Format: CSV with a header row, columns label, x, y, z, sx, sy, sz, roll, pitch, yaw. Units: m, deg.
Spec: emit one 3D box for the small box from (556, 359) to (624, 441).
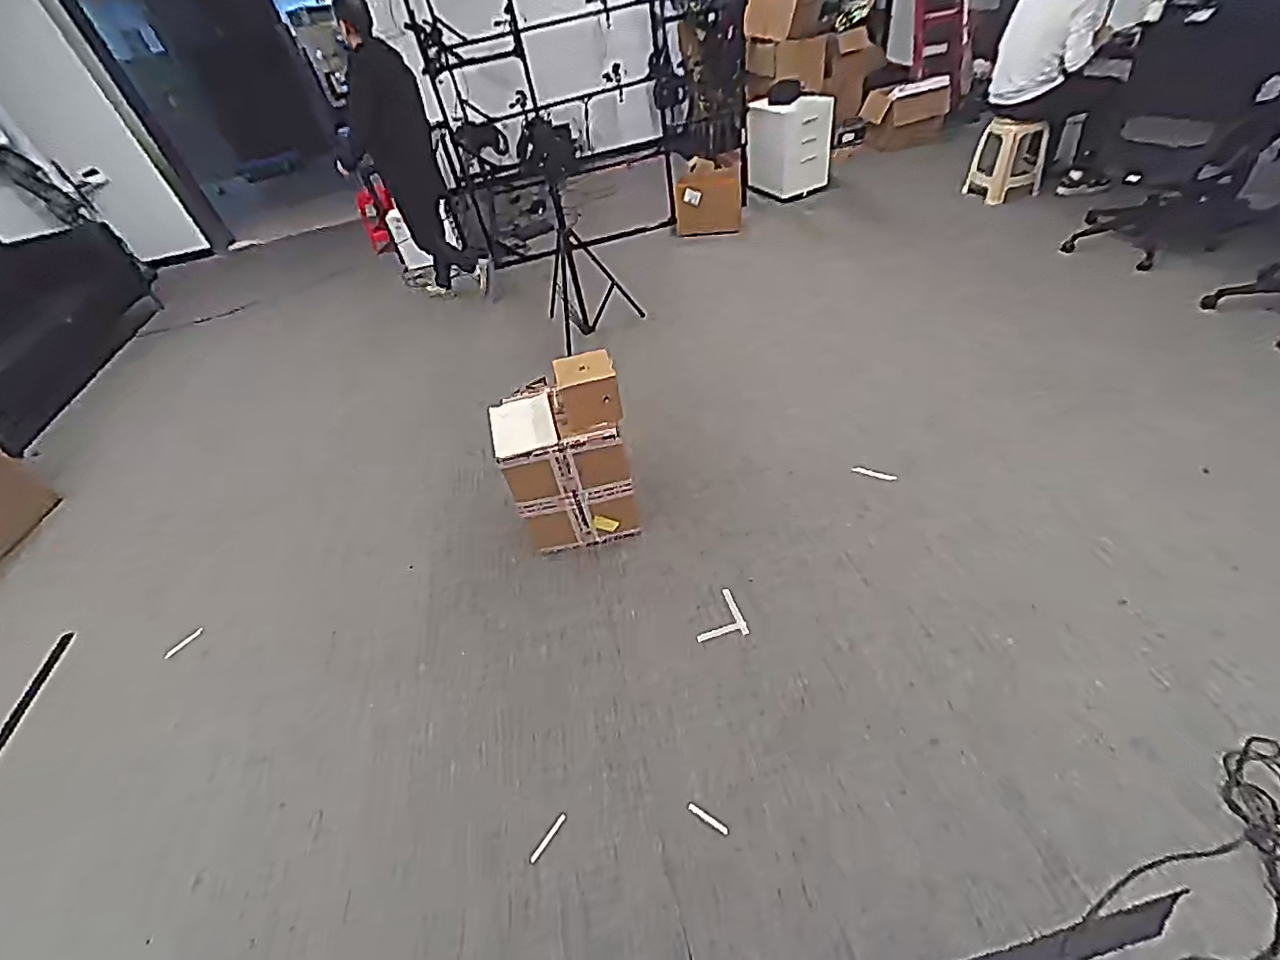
label,x,y,z,sx,sy,sz,roll,pitch,yaw
small box,-0.154,-0.251,1.706,0.179,0.176,0.168,-16,44,-5
